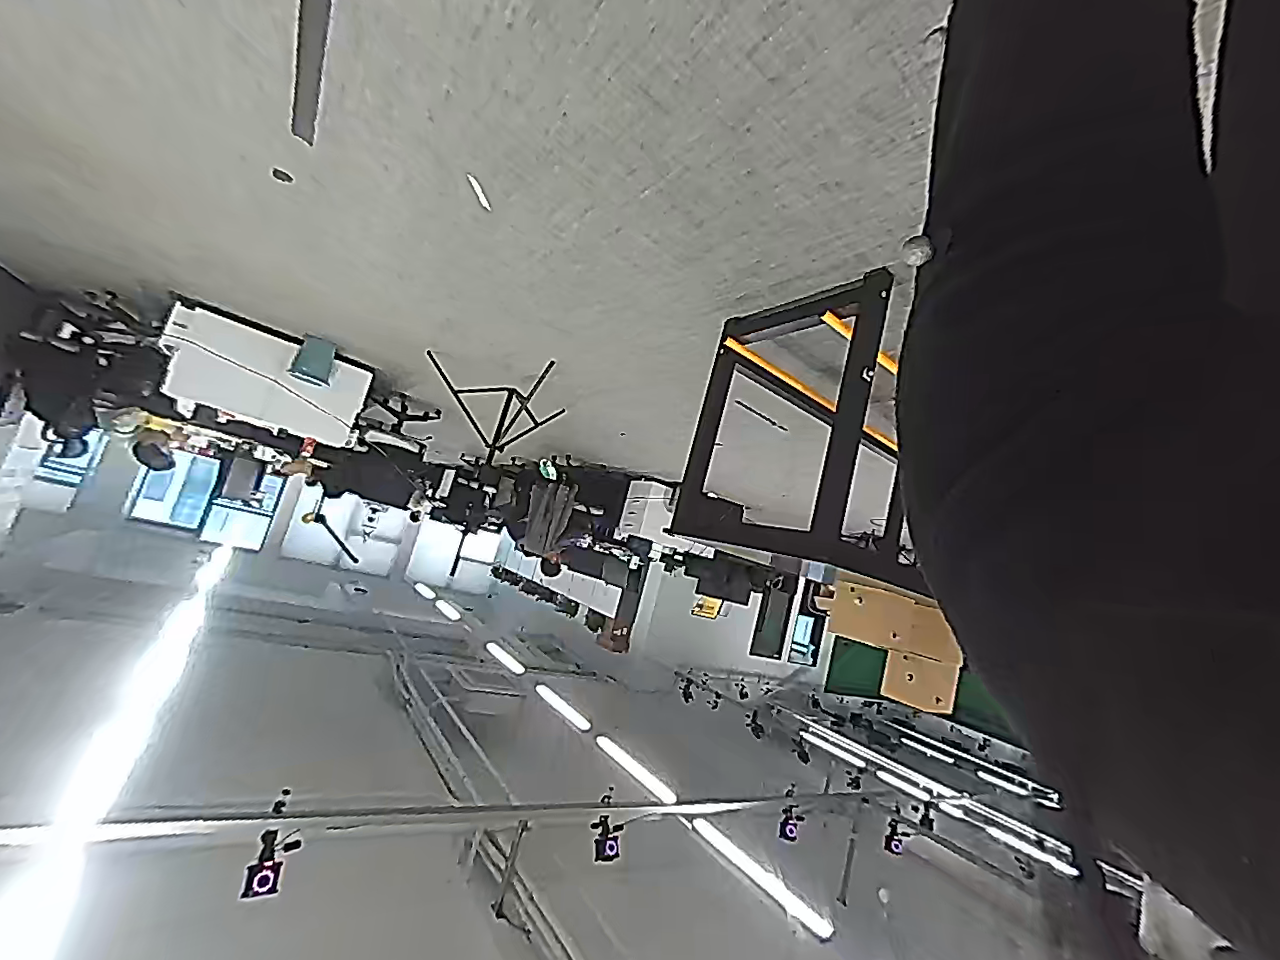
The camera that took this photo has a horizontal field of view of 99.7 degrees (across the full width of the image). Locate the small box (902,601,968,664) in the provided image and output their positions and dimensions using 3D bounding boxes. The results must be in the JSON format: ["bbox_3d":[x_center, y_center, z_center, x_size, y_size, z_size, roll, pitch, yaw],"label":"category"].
[{"bbox_3d":[1.000,0.519,1.866,0.168,0.176,0.179,20,170,-36],"label":"small box"}]

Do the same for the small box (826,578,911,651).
[{"bbox_3d":[0.712,0.414,1.674,0.179,0.176,0.168,22,170,-33],"label":"small box"}]

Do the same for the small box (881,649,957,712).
[{"bbox_3d":[0.957,0.678,1.852,0.179,0.176,0.168,20,172,-36],"label":"small box"}]
